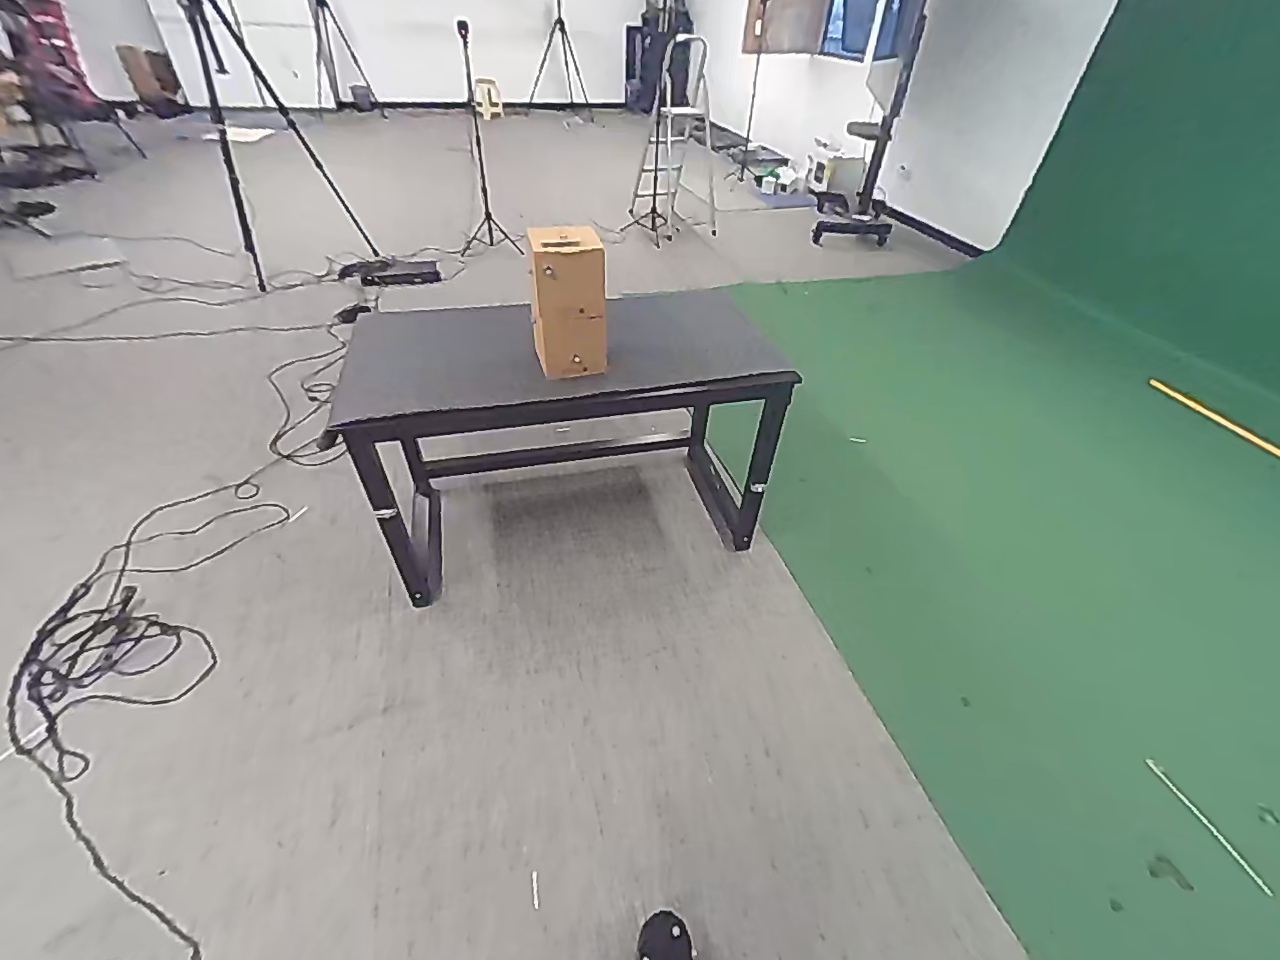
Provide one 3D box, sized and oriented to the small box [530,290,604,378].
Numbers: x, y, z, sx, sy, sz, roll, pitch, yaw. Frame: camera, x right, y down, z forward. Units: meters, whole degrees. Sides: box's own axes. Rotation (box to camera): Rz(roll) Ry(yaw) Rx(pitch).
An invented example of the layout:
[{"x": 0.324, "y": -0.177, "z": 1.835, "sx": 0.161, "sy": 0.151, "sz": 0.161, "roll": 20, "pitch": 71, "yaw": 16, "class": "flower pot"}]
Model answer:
[{"x": -0.198, "y": -0.393, "z": 1.454, "sx": 0.168, "sy": 0.176, "sz": 0.179, "roll": -11, "pitch": 43, "yaw": -15, "class": "small box"}]
